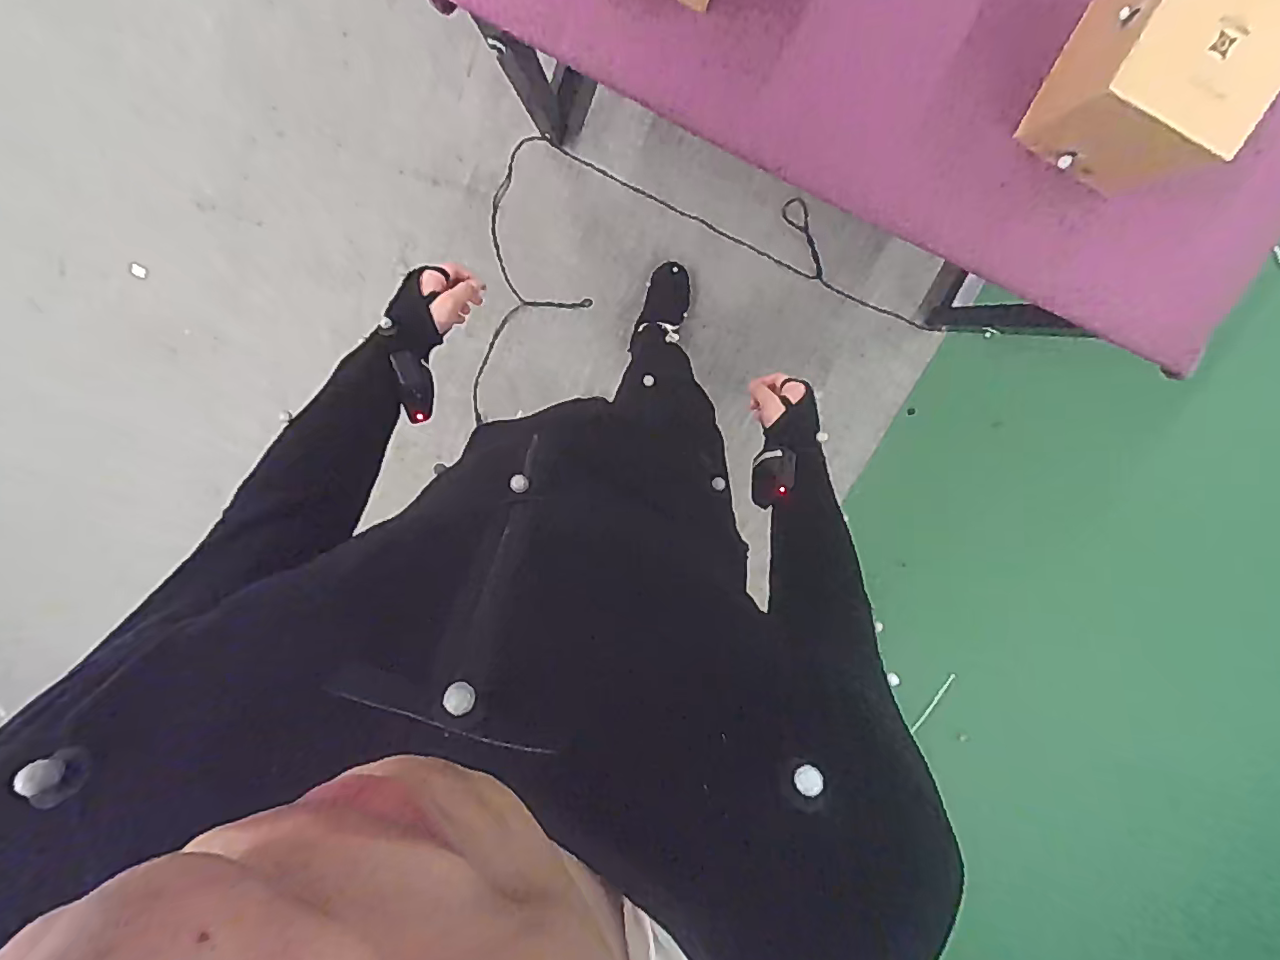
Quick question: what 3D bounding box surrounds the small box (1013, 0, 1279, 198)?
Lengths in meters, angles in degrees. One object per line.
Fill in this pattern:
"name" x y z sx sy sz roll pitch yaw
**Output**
"small box" 0.600 -0.472 0.641 0.168 0.176 0.179 26 105 -5
